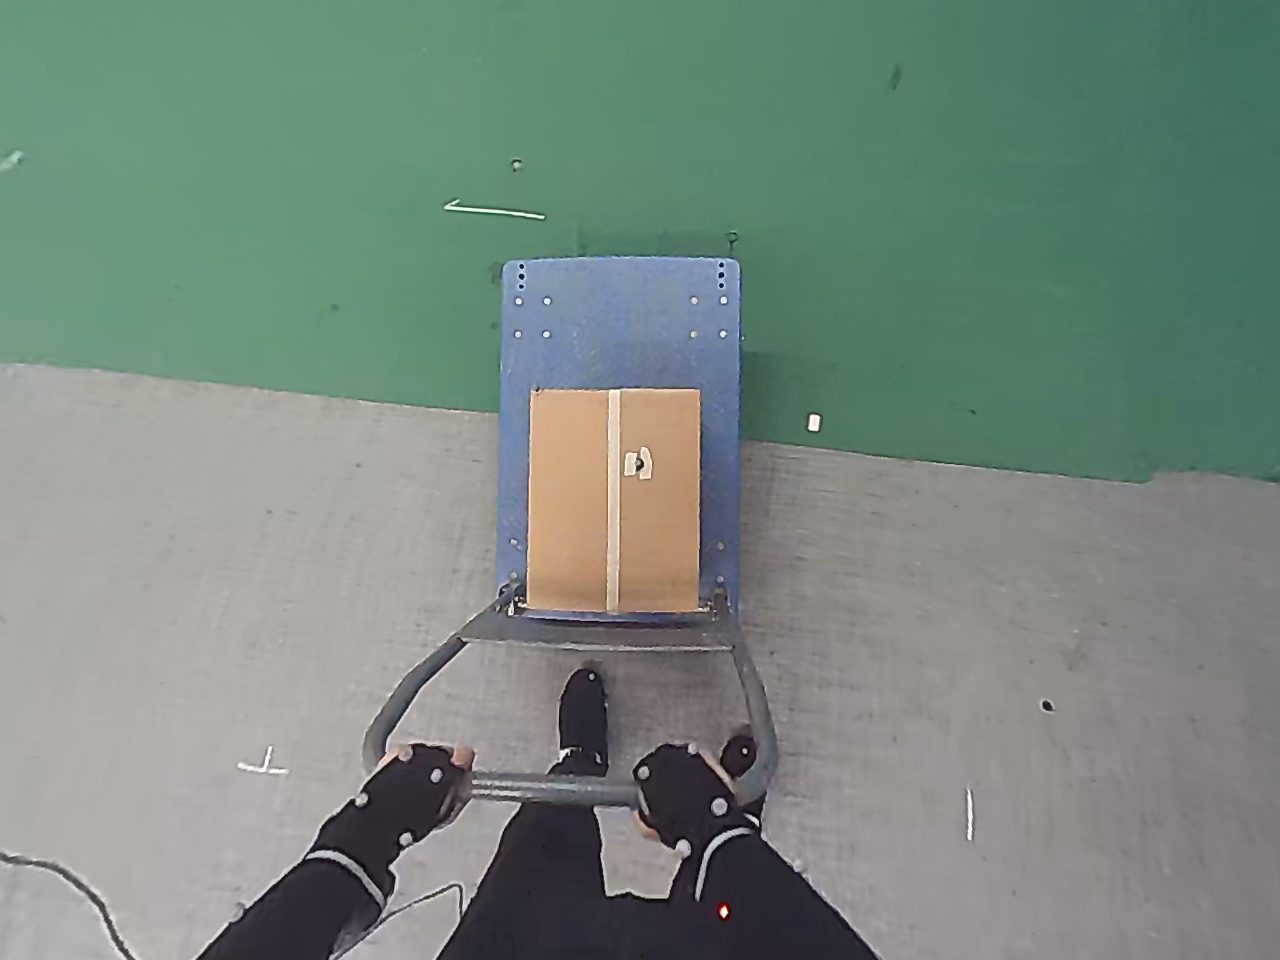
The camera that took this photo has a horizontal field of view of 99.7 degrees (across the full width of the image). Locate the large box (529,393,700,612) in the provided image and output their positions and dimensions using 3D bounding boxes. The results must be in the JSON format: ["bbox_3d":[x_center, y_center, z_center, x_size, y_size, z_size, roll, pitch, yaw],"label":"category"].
[{"bbox_3d":[-0.040,0.046,1.132,0.320,0.320,0.408,0,88,2],"label":"large box"}]
